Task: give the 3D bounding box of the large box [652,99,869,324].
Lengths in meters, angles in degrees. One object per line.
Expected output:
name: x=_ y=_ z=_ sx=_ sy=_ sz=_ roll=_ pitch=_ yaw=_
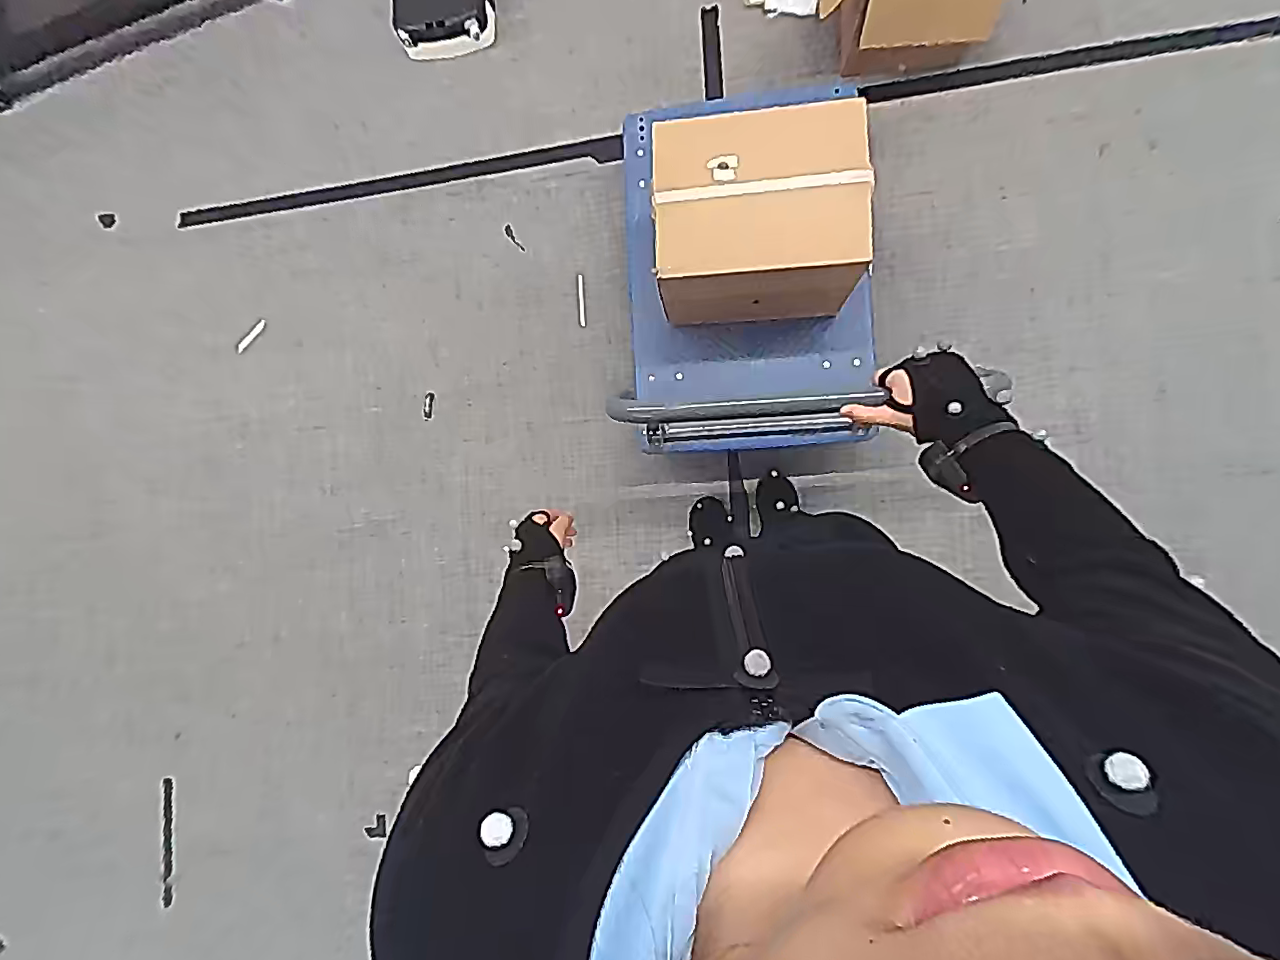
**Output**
large box: x=0.251 y=-0.555 z=1.192 sx=0.408 sy=0.320 sz=0.320 roll=-2 pitch=87 yaw=9
